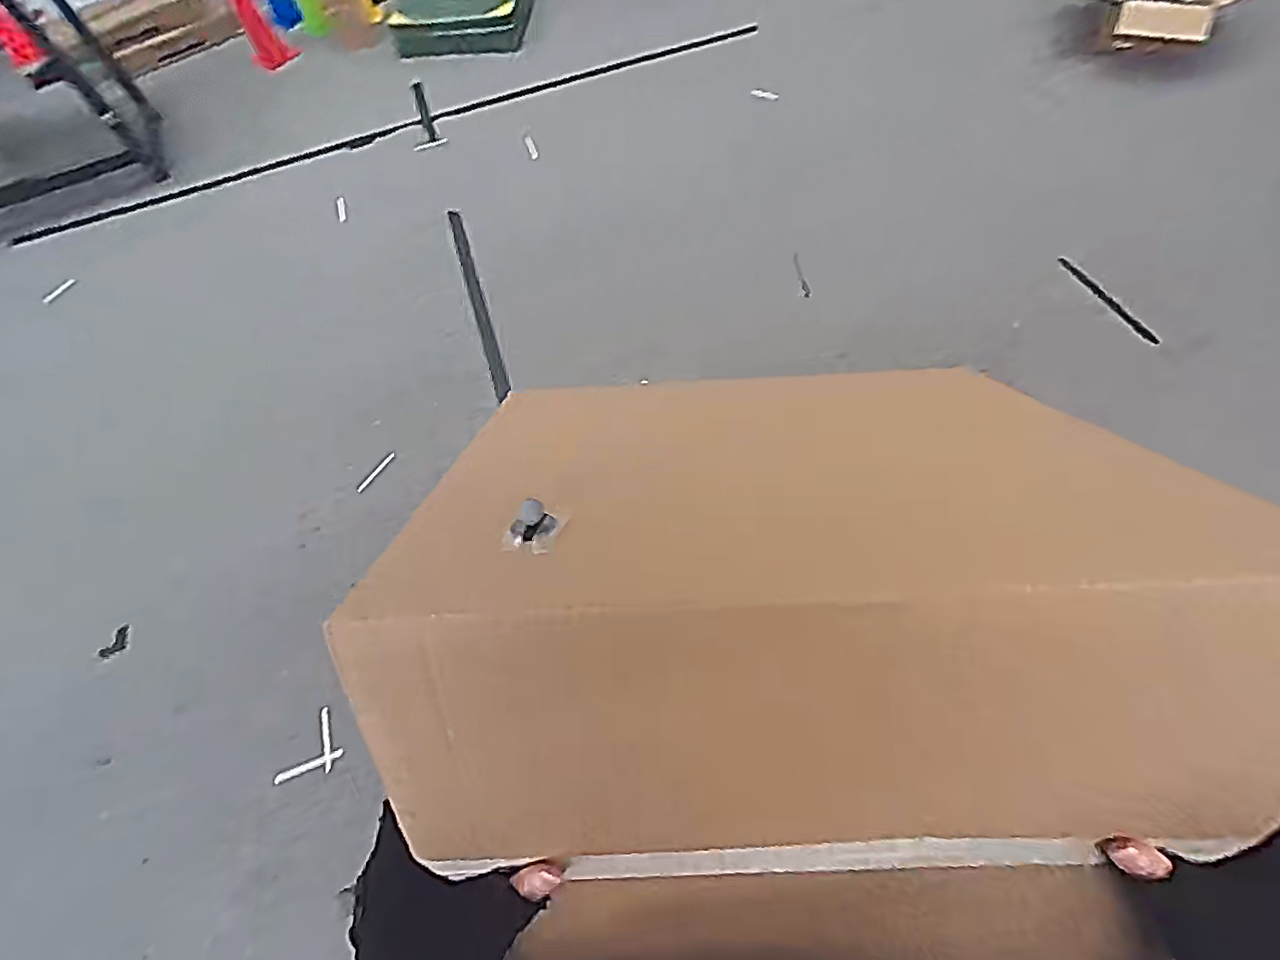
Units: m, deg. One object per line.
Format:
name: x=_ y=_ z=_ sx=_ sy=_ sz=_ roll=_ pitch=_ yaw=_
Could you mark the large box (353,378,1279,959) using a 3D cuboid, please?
large box: x=0.088 y=0.119 z=0.411 sx=0.408 sy=0.320 sz=0.320 roll=-4 pitch=25 yaw=2
